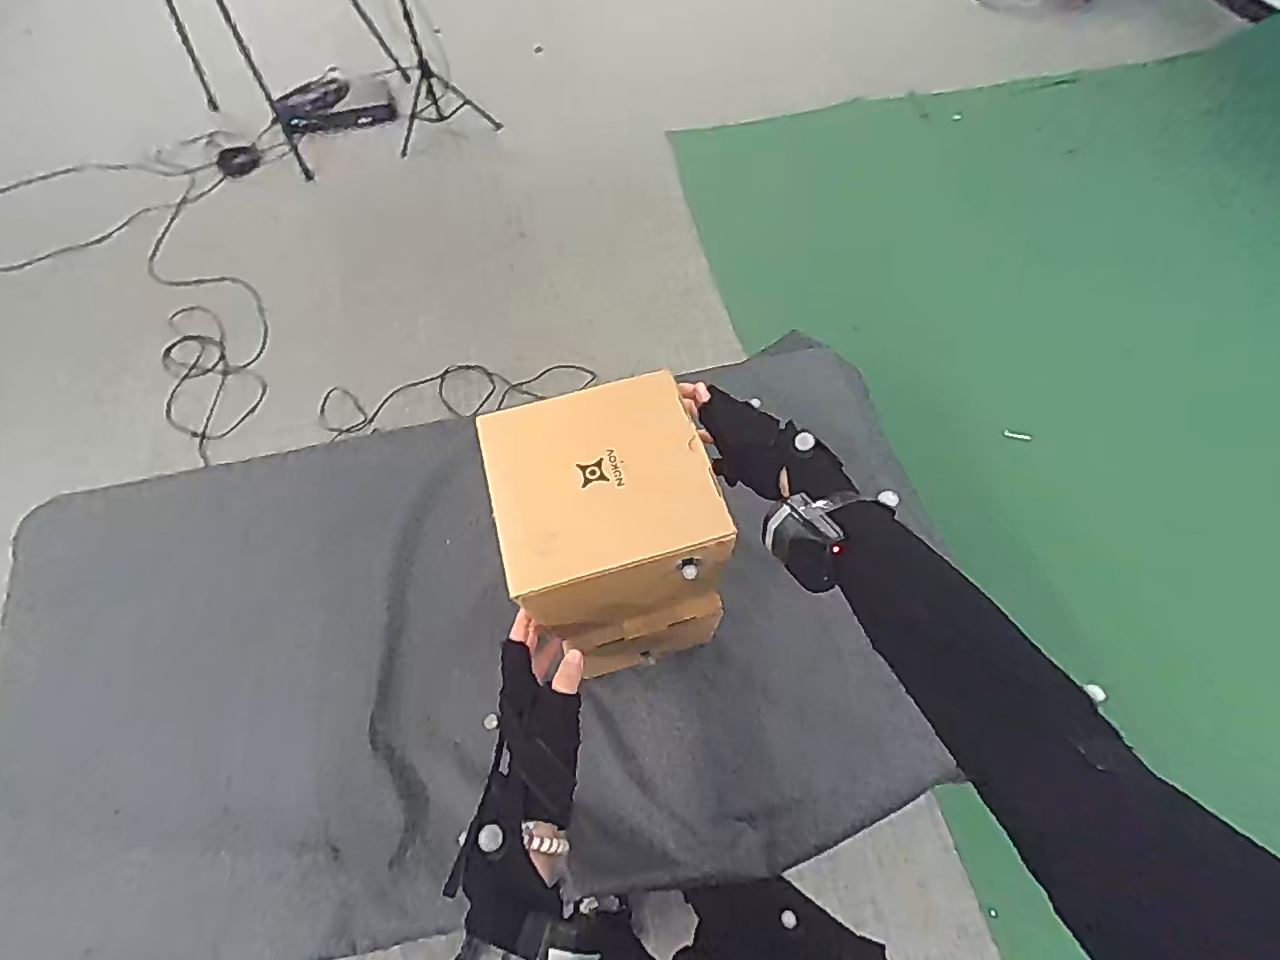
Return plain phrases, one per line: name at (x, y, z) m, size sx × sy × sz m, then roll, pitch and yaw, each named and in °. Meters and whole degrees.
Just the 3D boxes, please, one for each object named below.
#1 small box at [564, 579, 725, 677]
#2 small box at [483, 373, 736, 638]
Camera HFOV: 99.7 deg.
small box at (-0.013, 0.115, 0.641) m, size 0.168 × 0.176 × 0.179 m, roll -14°, pitch 63°, yaw -6°
small box at (-0.028, 0.033, 0.501) m, size 0.179 × 0.176 × 0.168 m, roll -14°, pitch 62°, yaw -7°
